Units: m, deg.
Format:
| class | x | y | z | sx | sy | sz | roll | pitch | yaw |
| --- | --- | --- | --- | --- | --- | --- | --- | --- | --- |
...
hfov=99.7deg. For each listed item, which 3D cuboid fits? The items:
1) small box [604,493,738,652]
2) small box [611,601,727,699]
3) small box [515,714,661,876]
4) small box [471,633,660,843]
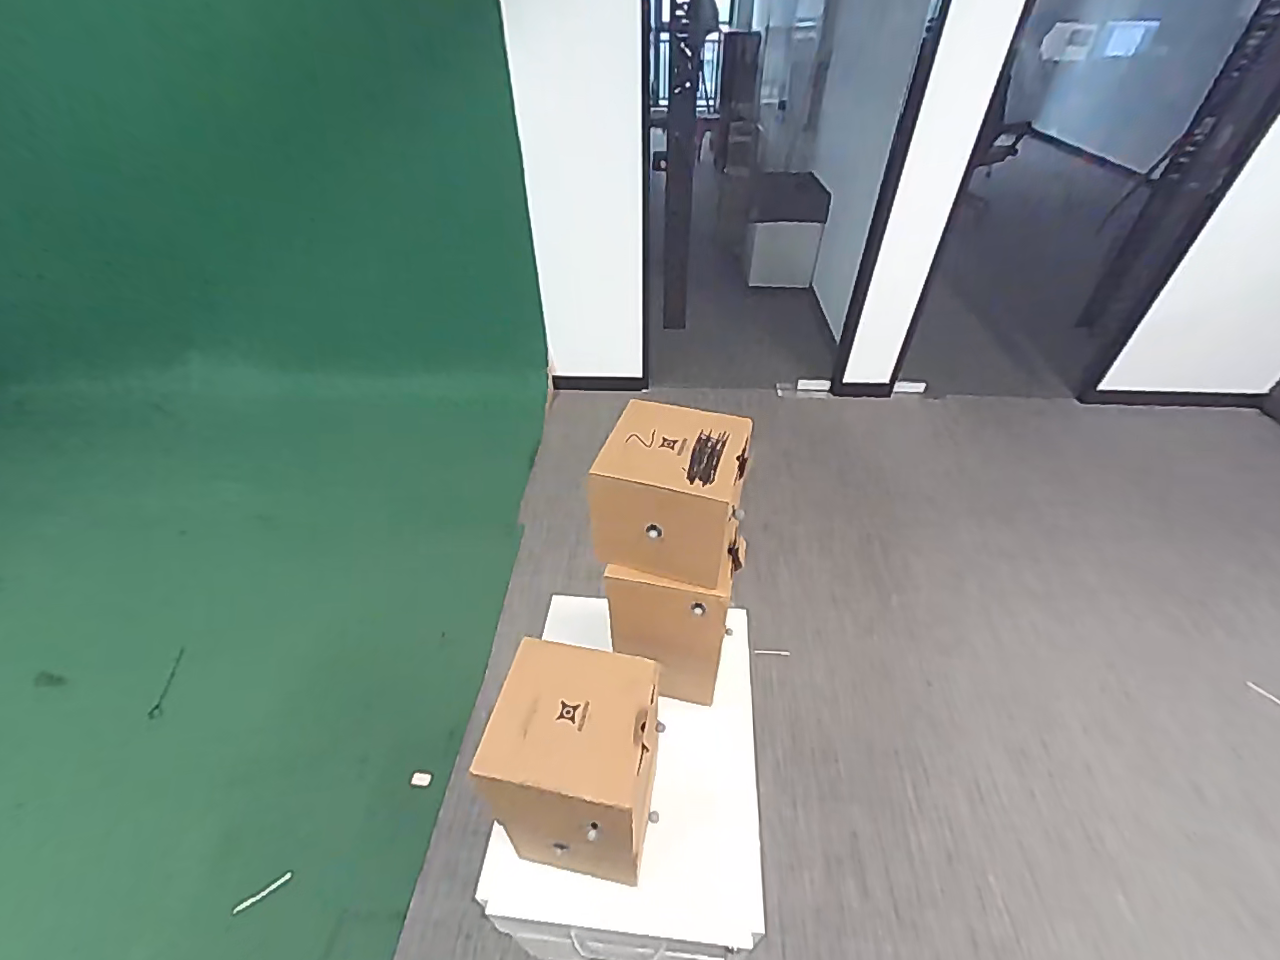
| class | x | y | z | sx | sy | sz | roll | pitch | yaw |
| --- | --- | --- | --- | --- | --- | --- | --- | --- | --- |
| small box | 0.051 | 0.145 | 0.844 | 0.179 | 0.176 | 0.168 | 8 | 44 | 9 |
| small box | 0.057 | 0.263 | 0.956 | 0.179 | 0.176 | 0.168 | 8 | 44 | 10 |
| small box | -0.072 | 0.433 | 0.770 | 0.179 | 0.176 | 0.168 | 9 | 43 | 8 |
| small box | -0.076 | 0.315 | 0.659 | 0.179 | 0.176 | 0.168 | 7 | 41 | 8 |
